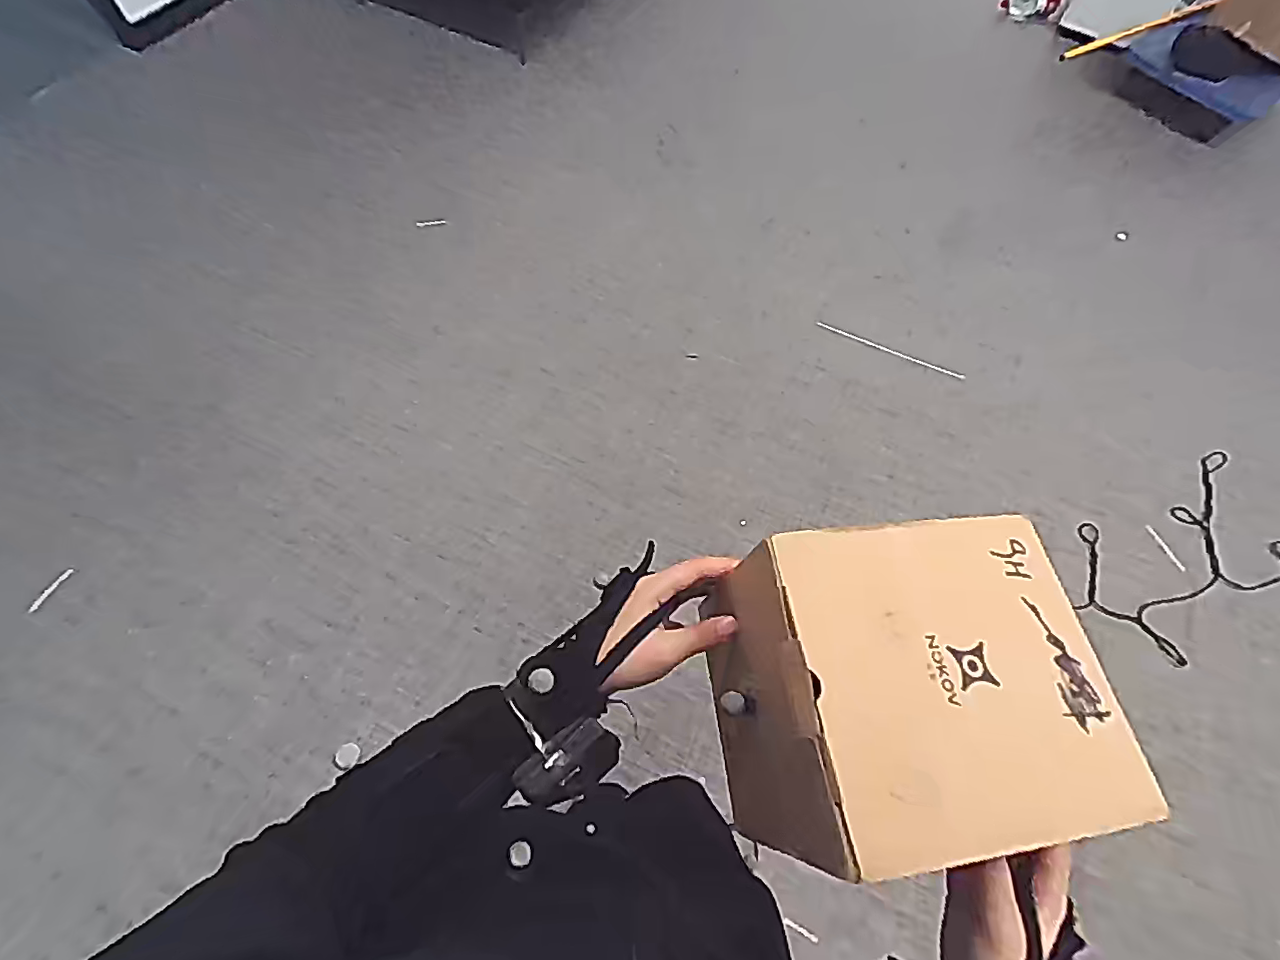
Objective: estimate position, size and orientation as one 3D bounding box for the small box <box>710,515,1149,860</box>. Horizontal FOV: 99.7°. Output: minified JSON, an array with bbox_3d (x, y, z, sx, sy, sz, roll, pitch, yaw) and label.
[{"bbox_3d":[0.154,0.136,0.365,0.179,0.176,0.168,-3,63,-10],"label":"small box"}]
